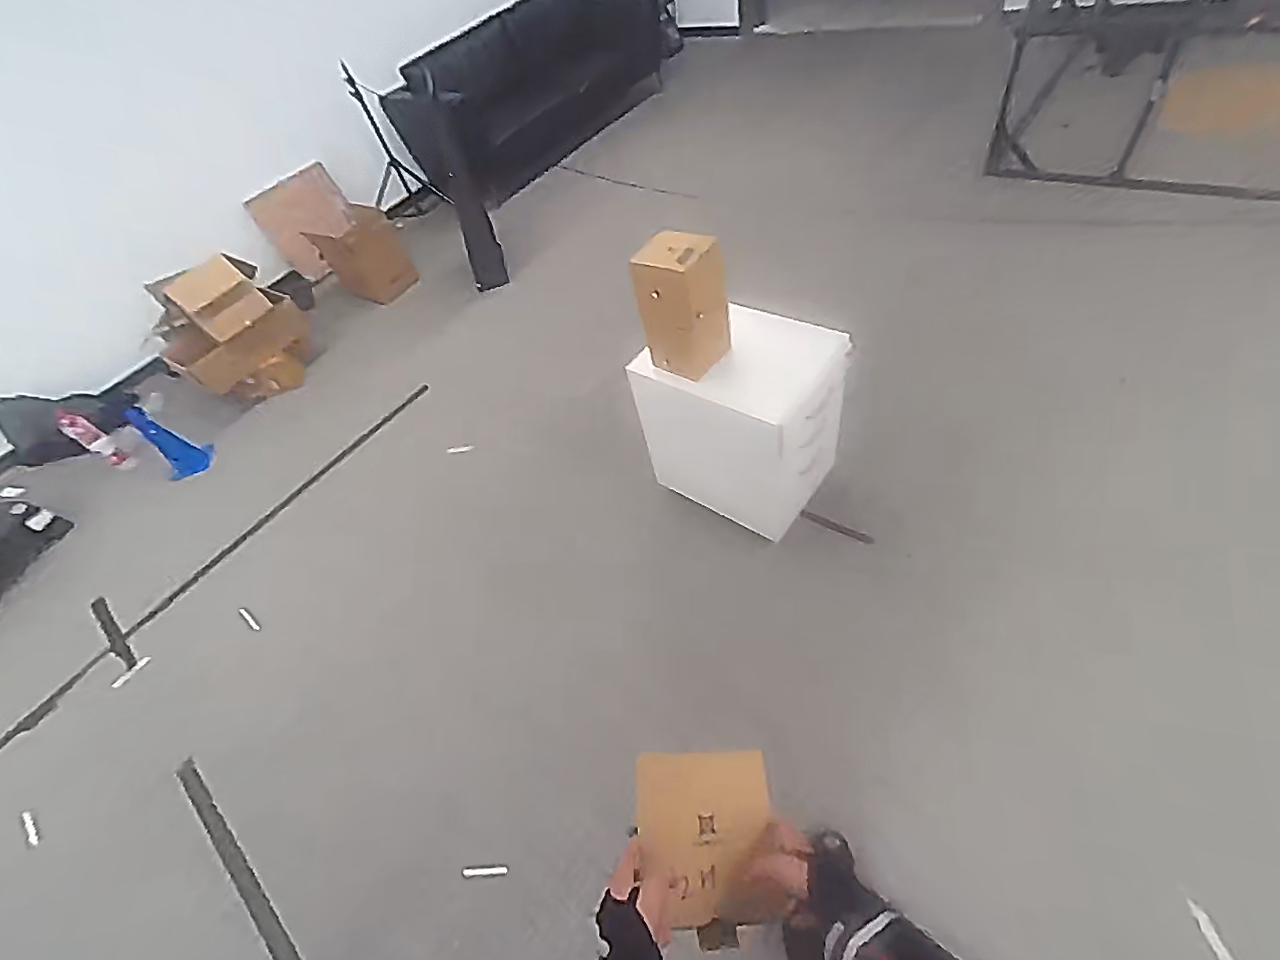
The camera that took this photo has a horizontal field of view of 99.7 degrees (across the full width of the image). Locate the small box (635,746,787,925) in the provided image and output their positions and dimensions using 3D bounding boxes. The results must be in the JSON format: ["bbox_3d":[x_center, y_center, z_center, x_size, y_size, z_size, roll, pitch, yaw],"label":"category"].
[{"bbox_3d":[0.078,0.465,0.710,0.168,0.176,0.179,-3,53,-1],"label":"small box"}]

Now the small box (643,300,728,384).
[{"bbox_3d":[0.134,-0.402,1.512,0.168,0.176,0.179,28,63,32],"label":"small box"}]

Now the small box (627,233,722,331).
[{"bbox_3d":[0.097,-0.506,1.391,0.179,0.176,0.168,23,59,31],"label":"small box"}]
